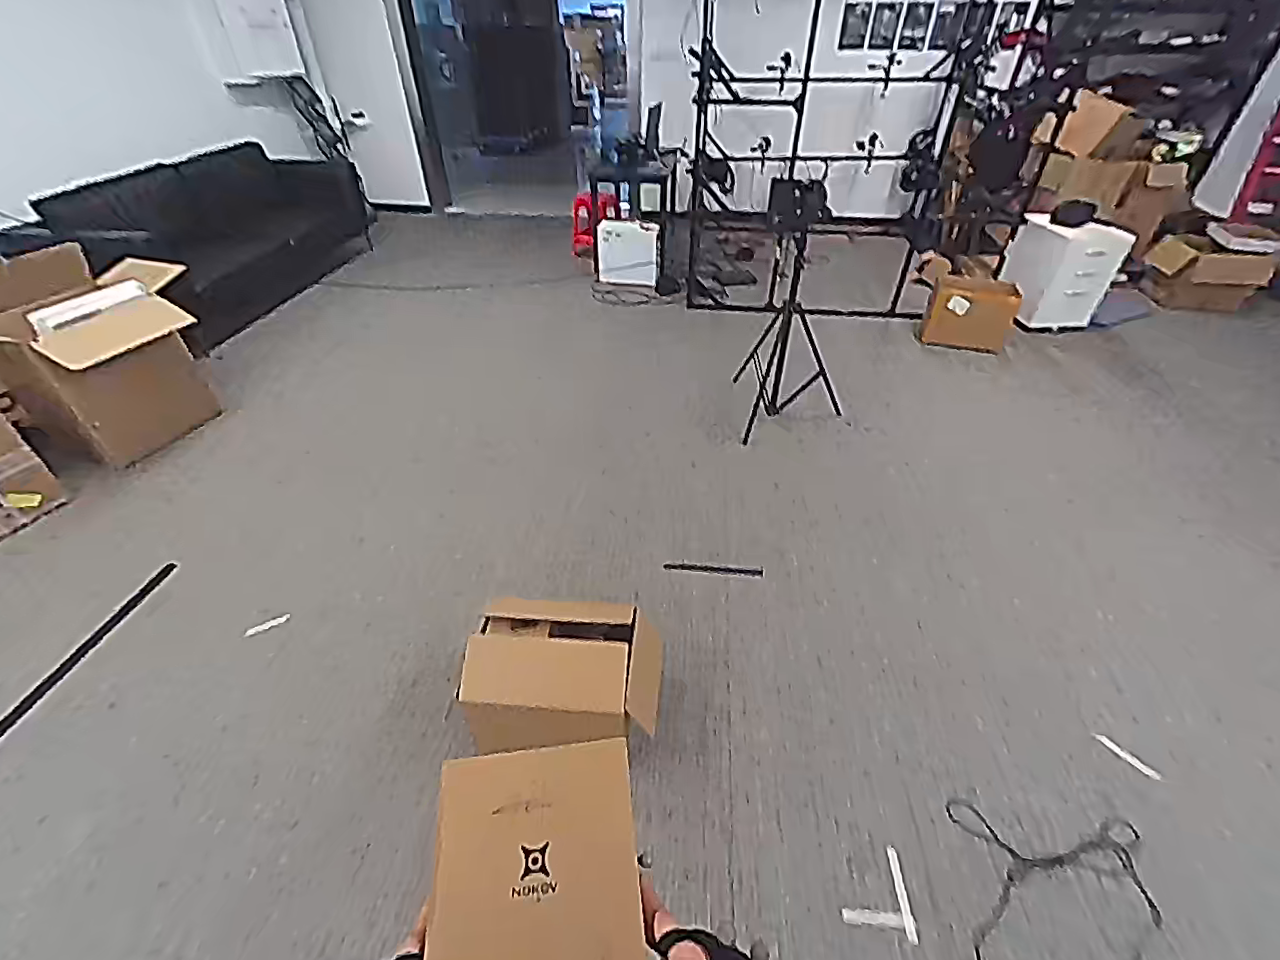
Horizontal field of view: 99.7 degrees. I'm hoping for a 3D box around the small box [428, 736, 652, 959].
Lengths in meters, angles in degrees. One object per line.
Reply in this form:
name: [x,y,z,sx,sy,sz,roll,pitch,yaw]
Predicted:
small box: [-0.080,0.354,0.490,0.168,0.176,0.179,-5,52,-6]
